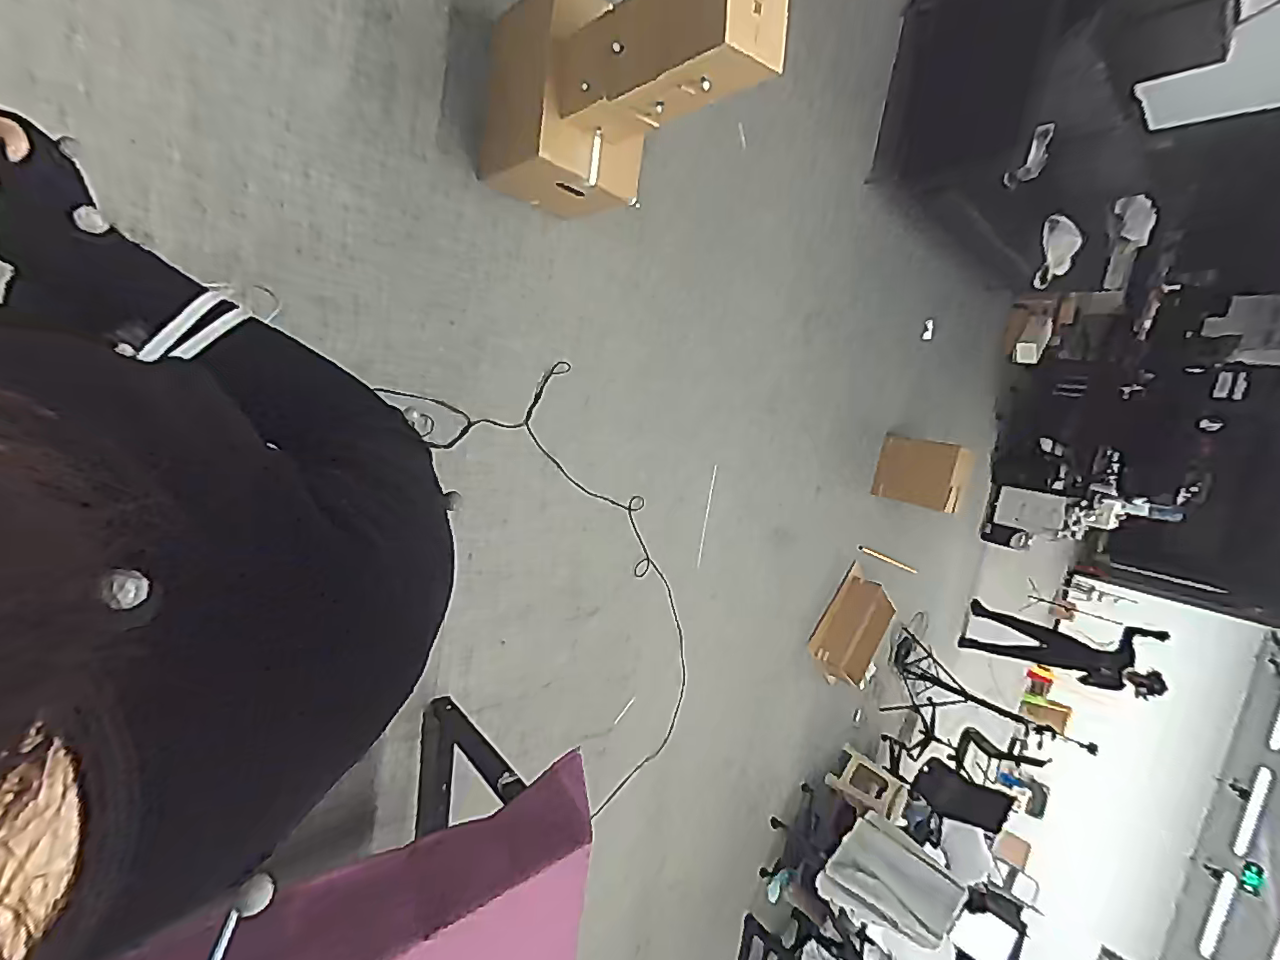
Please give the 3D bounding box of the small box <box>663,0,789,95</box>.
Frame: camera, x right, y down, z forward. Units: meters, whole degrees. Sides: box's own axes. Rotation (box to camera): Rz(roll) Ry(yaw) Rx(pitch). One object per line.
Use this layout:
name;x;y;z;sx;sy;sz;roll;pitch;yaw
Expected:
small box;0.159;-0.864;1.009;0.168;0.176;0.179;-10;109;-39

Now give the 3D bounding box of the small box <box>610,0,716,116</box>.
small box;0.051;-0.897;1.131;0.168;0.176;0.179;-10;109;-39
